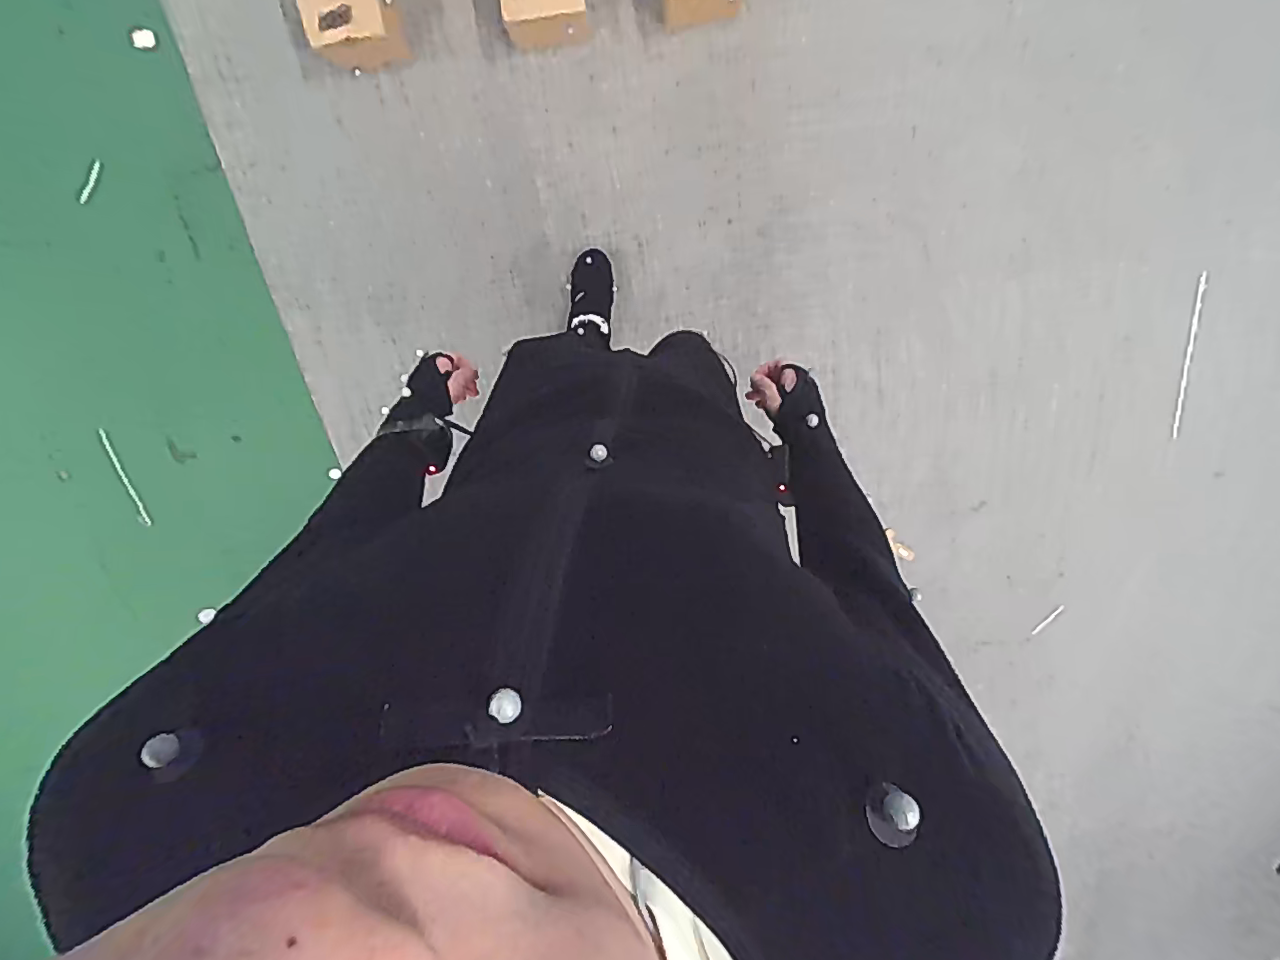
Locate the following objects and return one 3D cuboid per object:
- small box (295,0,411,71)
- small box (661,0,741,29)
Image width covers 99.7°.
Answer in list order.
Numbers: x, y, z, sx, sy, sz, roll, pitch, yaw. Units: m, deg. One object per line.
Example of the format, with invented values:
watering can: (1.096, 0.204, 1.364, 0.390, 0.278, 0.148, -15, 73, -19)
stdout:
small box: (-0.623, -1.021, 1.172, 0.168, 0.176, 0.179, -8, 110, 2)
small box: (0.129, -1.108, 1.155, 0.179, 0.176, 0.168, -10, 110, 2)
